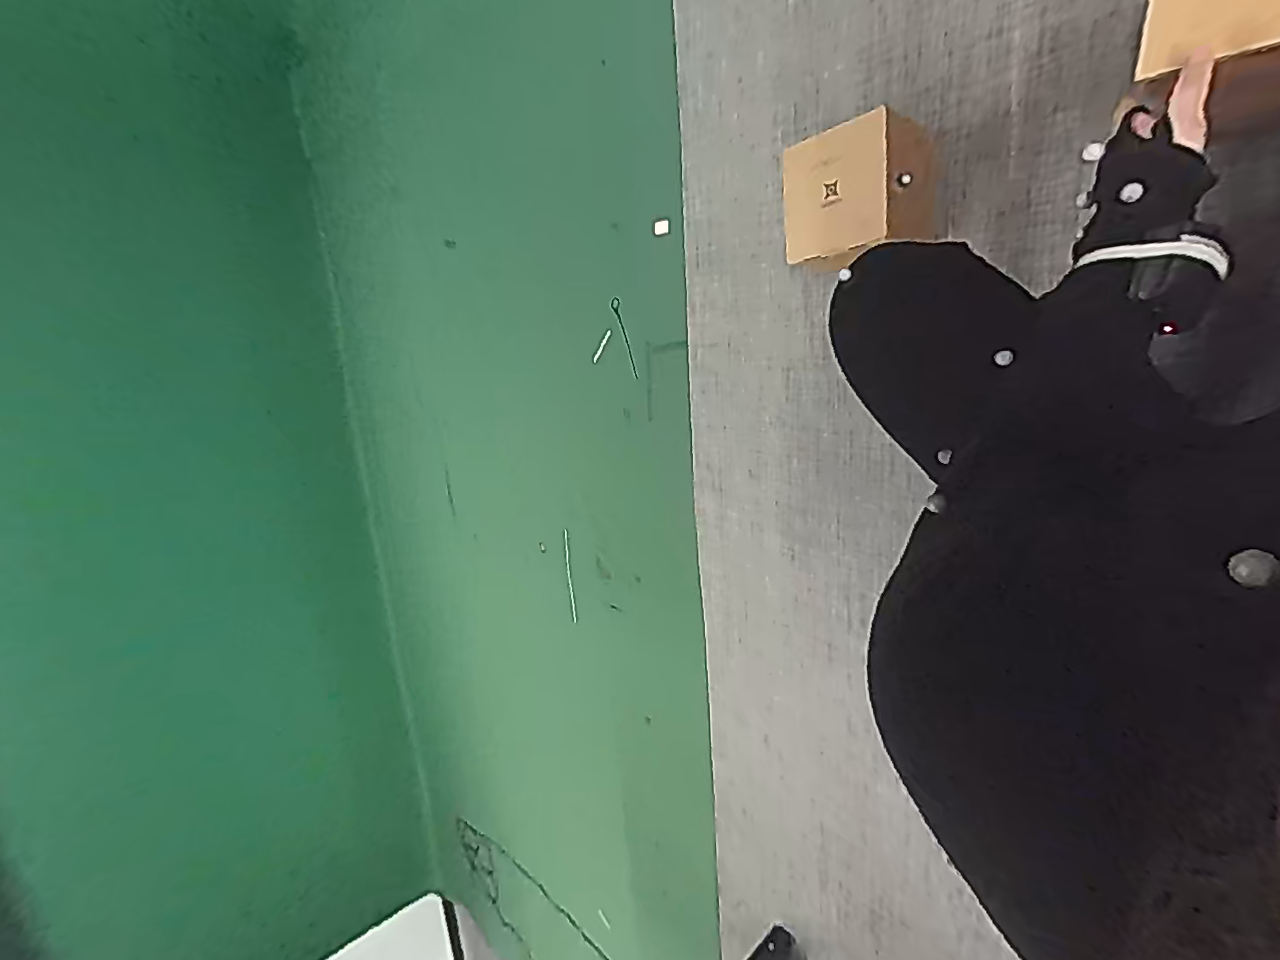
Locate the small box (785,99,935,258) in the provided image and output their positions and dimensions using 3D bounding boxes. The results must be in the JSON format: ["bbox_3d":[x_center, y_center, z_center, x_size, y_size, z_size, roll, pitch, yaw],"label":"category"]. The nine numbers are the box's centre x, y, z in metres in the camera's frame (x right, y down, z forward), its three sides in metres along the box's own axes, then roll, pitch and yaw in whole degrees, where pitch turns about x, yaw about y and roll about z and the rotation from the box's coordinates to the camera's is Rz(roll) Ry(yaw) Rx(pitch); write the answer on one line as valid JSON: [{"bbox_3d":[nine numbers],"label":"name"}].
[{"bbox_3d":[0.350,-0.458,0.858,0.168,0.176,0.179,8,107,48],"label":"small box"}]

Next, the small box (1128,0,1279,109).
[{"bbox_3d":[0.516,-0.413,0.410,0.179,0.176,0.168,16,113,47],"label":"small box"}]
